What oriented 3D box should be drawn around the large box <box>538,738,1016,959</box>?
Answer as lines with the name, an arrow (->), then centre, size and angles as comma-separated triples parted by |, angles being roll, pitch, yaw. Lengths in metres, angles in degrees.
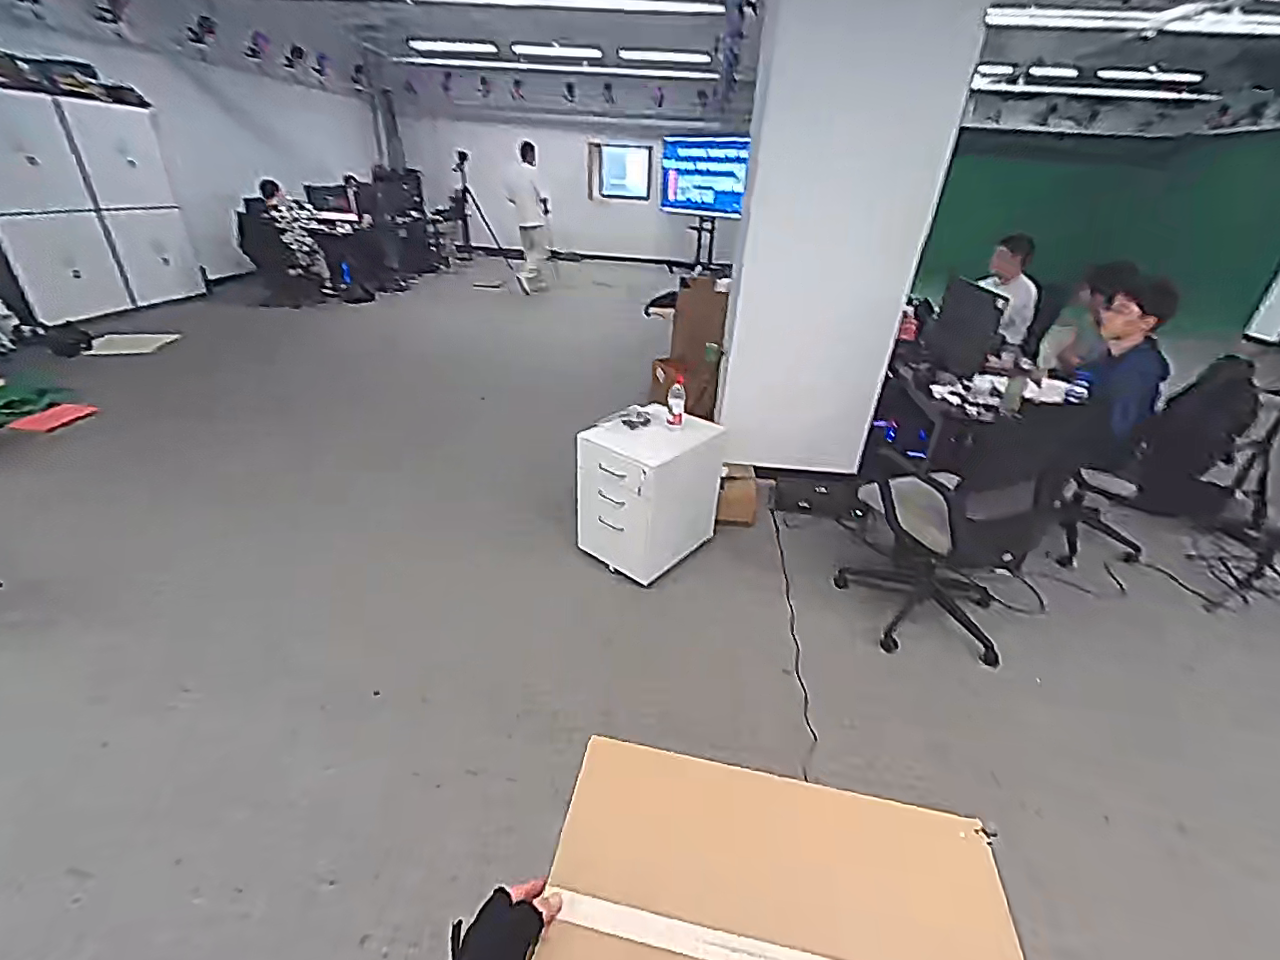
large box -> 0.108, 0.519, 0.538 | 0.408, 0.320, 0.320 | 9, 35, 7
